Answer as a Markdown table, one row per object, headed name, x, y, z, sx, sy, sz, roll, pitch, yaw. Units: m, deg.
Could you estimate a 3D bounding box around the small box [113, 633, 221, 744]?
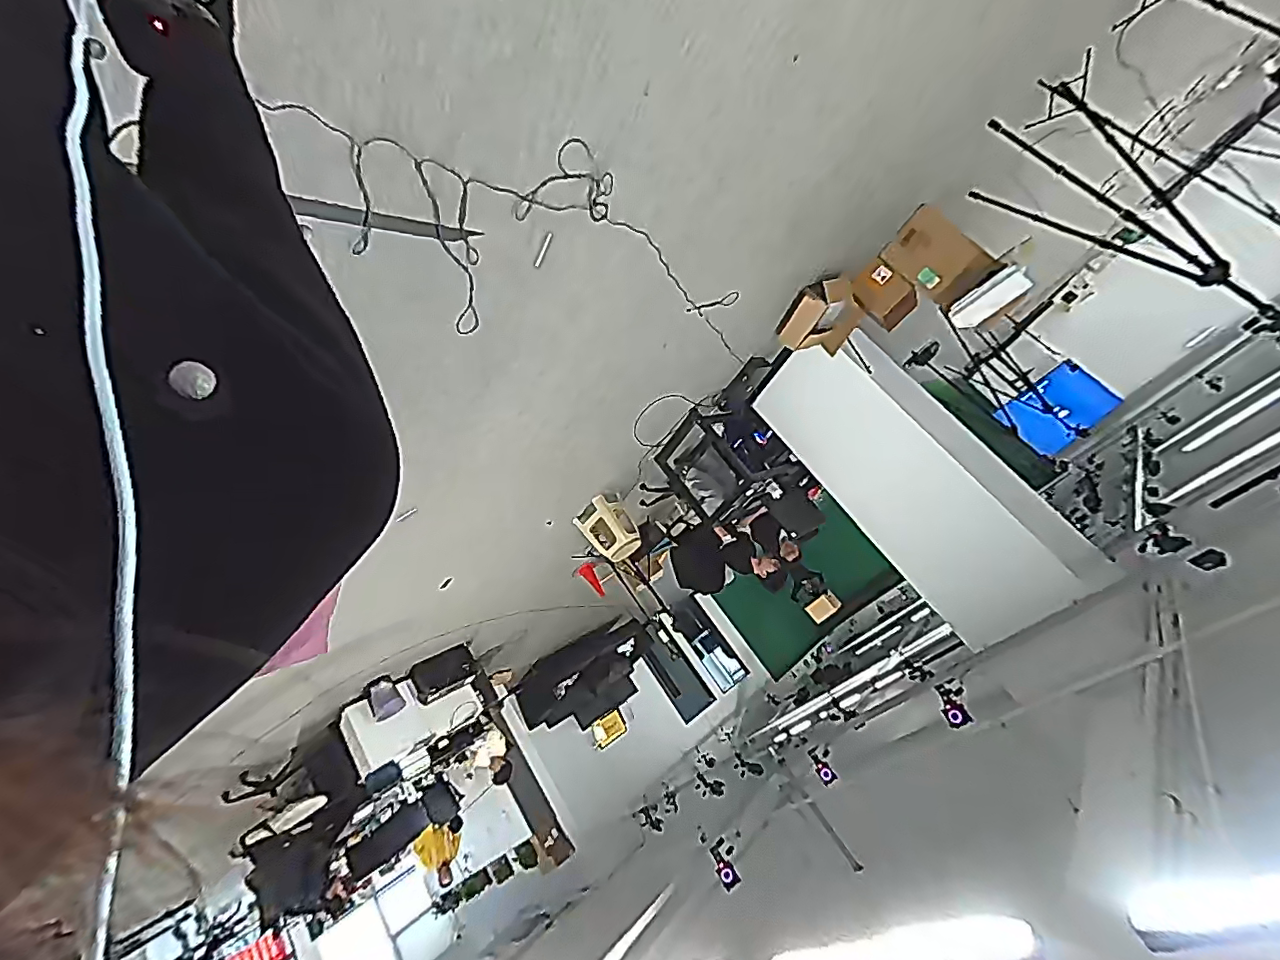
| name | x | y | z | sx | sy | sz | roll | pitch | yaw |
| --- | --- | --- | --- | --- | --- | --- | --- | --- | --- |
| small box | -1.147 | 0.497 | 1.317 | 0.168 | 0.176 | 0.179 | -15 | 151 | -45 |
